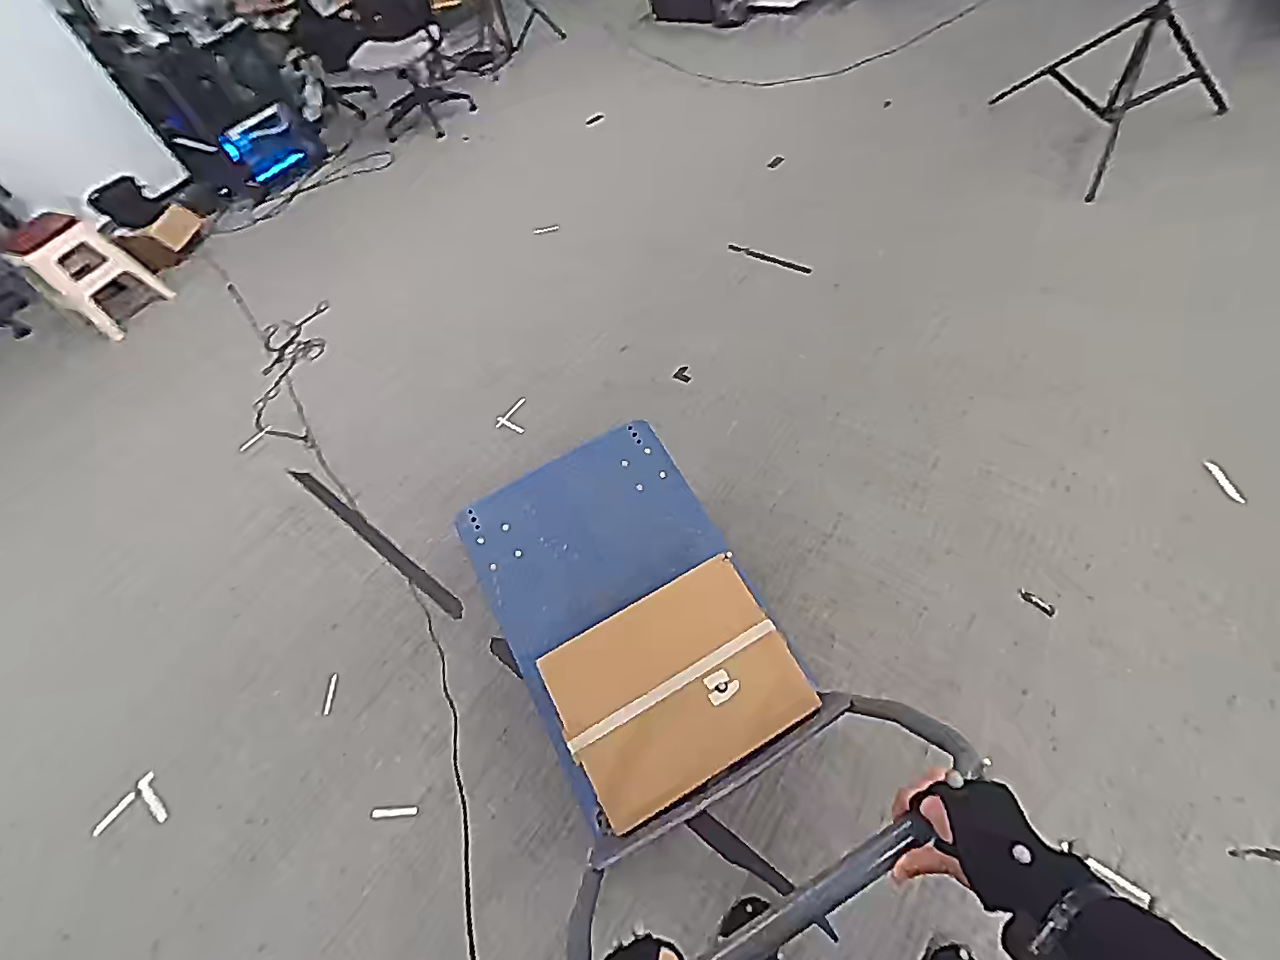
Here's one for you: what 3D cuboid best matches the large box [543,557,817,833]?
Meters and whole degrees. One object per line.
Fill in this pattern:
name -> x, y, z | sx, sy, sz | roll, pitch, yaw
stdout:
large box -> 0.072, 0.422, 1.098 | 0.408, 0.320, 0.320 | -29, 69, -9
